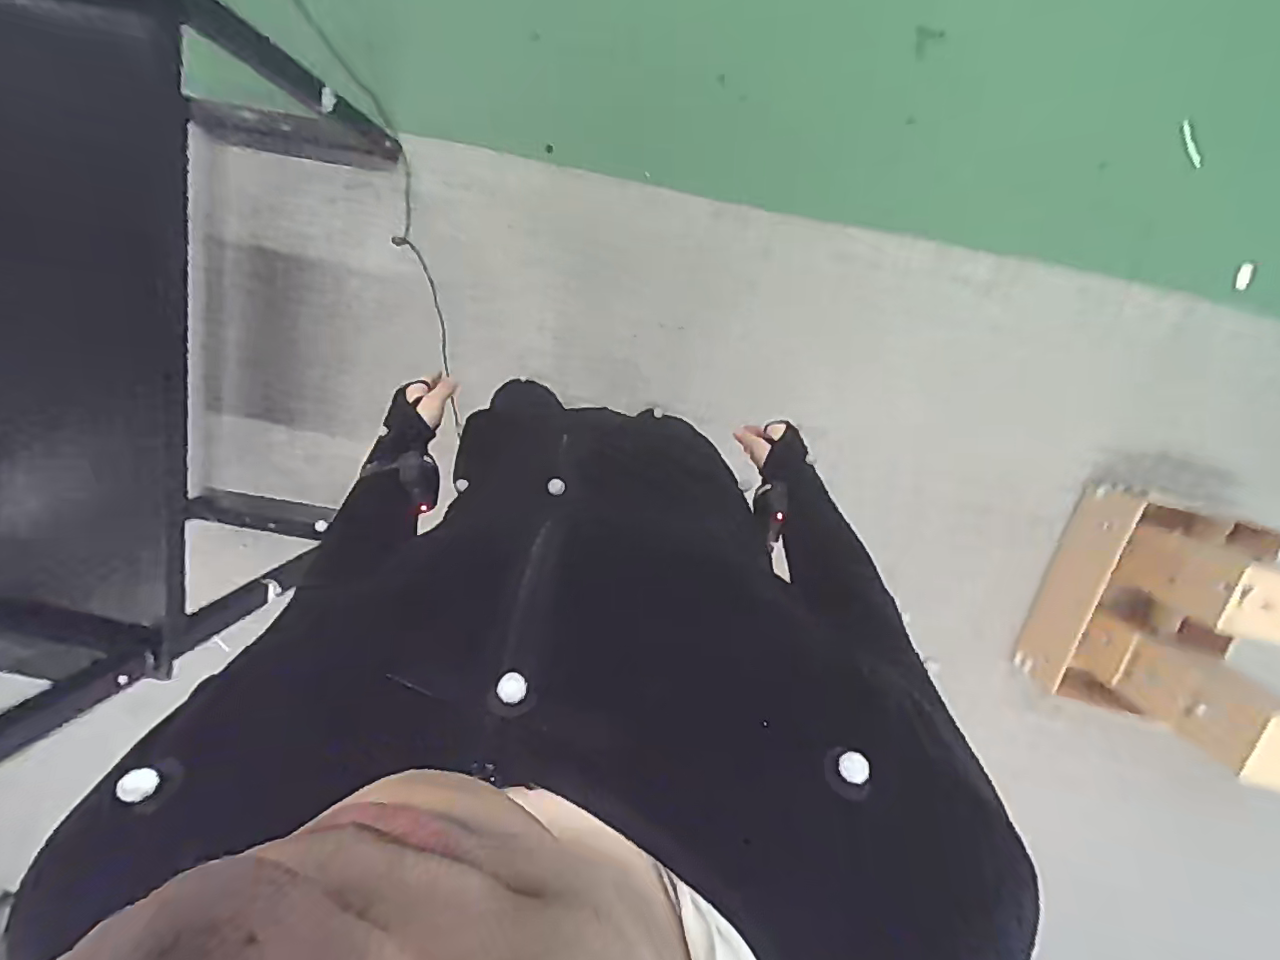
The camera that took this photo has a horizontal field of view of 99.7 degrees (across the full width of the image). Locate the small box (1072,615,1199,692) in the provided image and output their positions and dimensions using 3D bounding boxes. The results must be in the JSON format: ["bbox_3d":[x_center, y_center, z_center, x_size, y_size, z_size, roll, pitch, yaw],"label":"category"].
[{"bbox_3d":[1.380,0.500,1.523,0.179,0.176,0.168,15,102,0],"label":"small box"}]

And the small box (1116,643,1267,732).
[{"bbox_3d":[1.372,0.535,1.362,0.179,0.176,0.168,15,102,0],"label":"small box"}]

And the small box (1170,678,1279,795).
[{"bbox_3d":[1.366,0.568,1.201,0.179,0.176,0.168,15,101,1],"label":"small box"}]

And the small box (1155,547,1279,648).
[{"bbox_3d":[1.424,0.276,1.300,0.179,0.176,0.168,13,103,1],"label":"small box"}]
